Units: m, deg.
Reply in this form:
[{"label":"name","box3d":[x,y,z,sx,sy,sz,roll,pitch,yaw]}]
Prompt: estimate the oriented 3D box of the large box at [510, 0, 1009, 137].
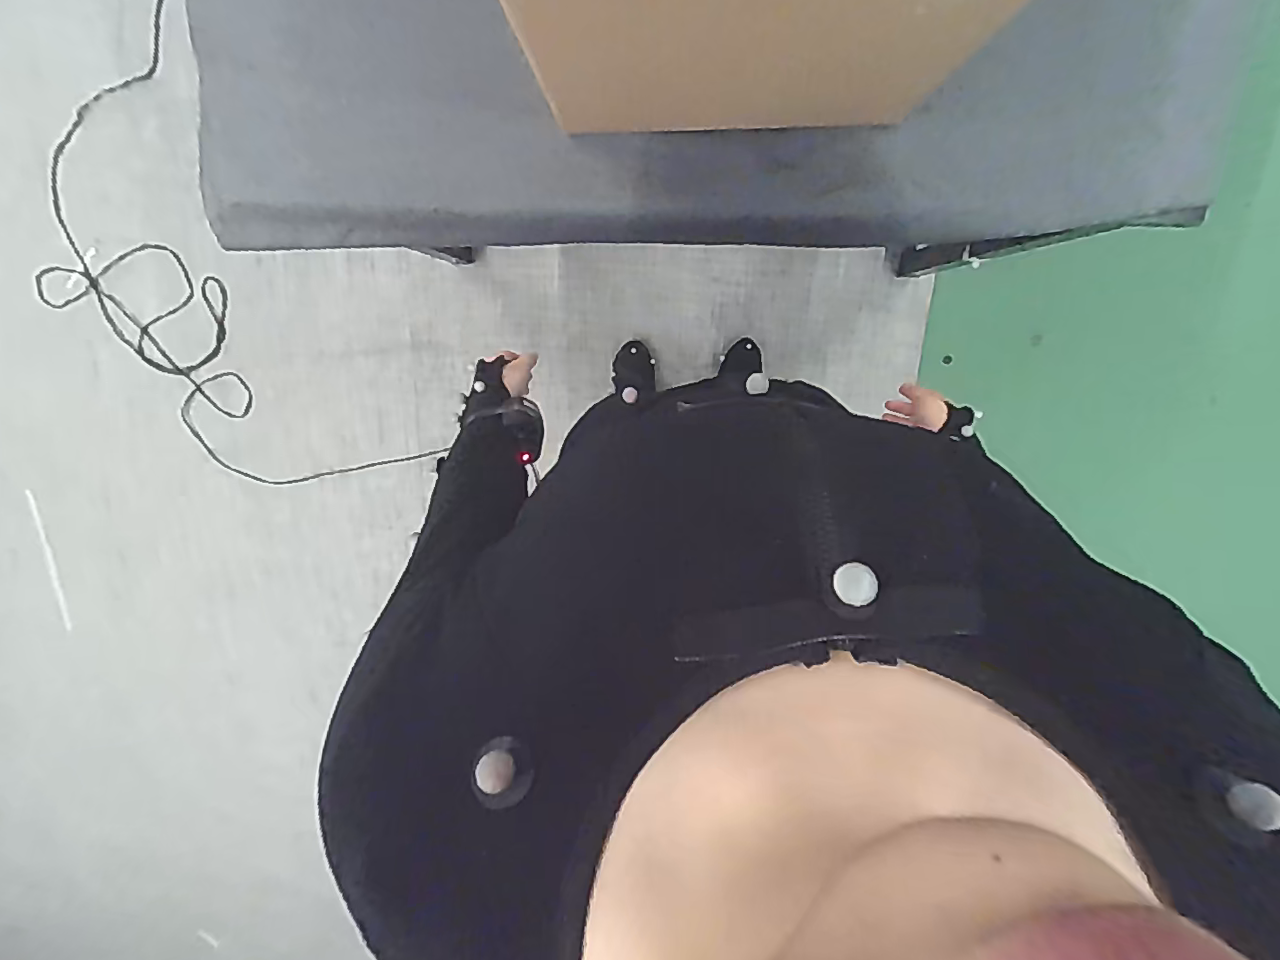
[{"label":"large box","box3d":[0.095,-0.535,0.474,0.408,0.320,0.320,-1,105,2]}]
